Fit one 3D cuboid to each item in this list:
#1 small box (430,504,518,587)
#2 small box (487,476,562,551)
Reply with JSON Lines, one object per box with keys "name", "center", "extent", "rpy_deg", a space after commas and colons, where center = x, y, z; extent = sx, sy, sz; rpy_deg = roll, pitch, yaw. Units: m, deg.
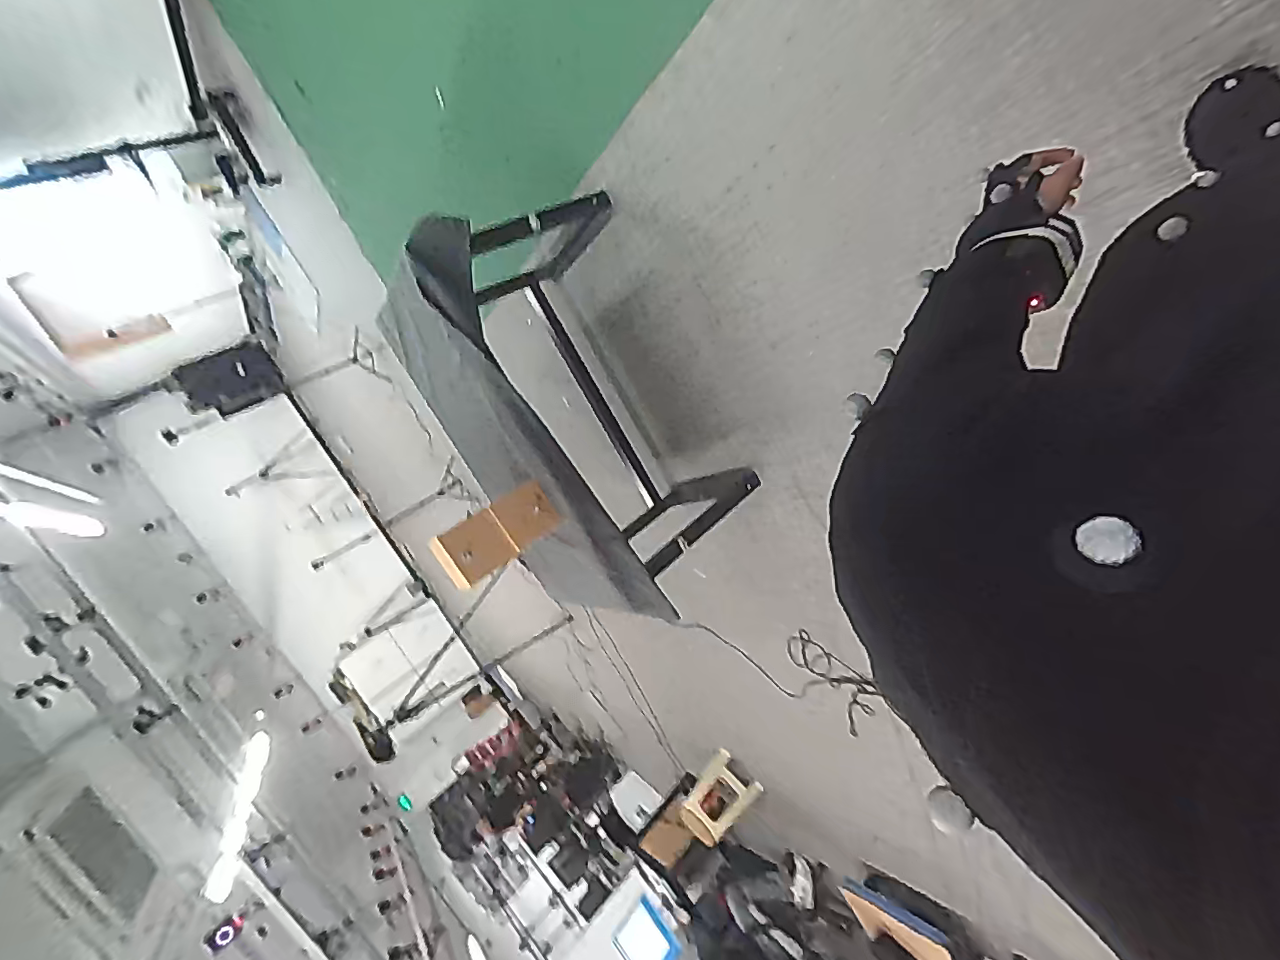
{"name": "small box", "center": [-0.489, 0.195, 1.600], "extent": [0.179, 0.176, 0.168], "rpy_deg": [57, 148, -5]}
{"name": "small box", "center": [-0.367, 0.113, 1.669], "extent": [0.168, 0.176, 0.179], "rpy_deg": [54, 149, -2]}
